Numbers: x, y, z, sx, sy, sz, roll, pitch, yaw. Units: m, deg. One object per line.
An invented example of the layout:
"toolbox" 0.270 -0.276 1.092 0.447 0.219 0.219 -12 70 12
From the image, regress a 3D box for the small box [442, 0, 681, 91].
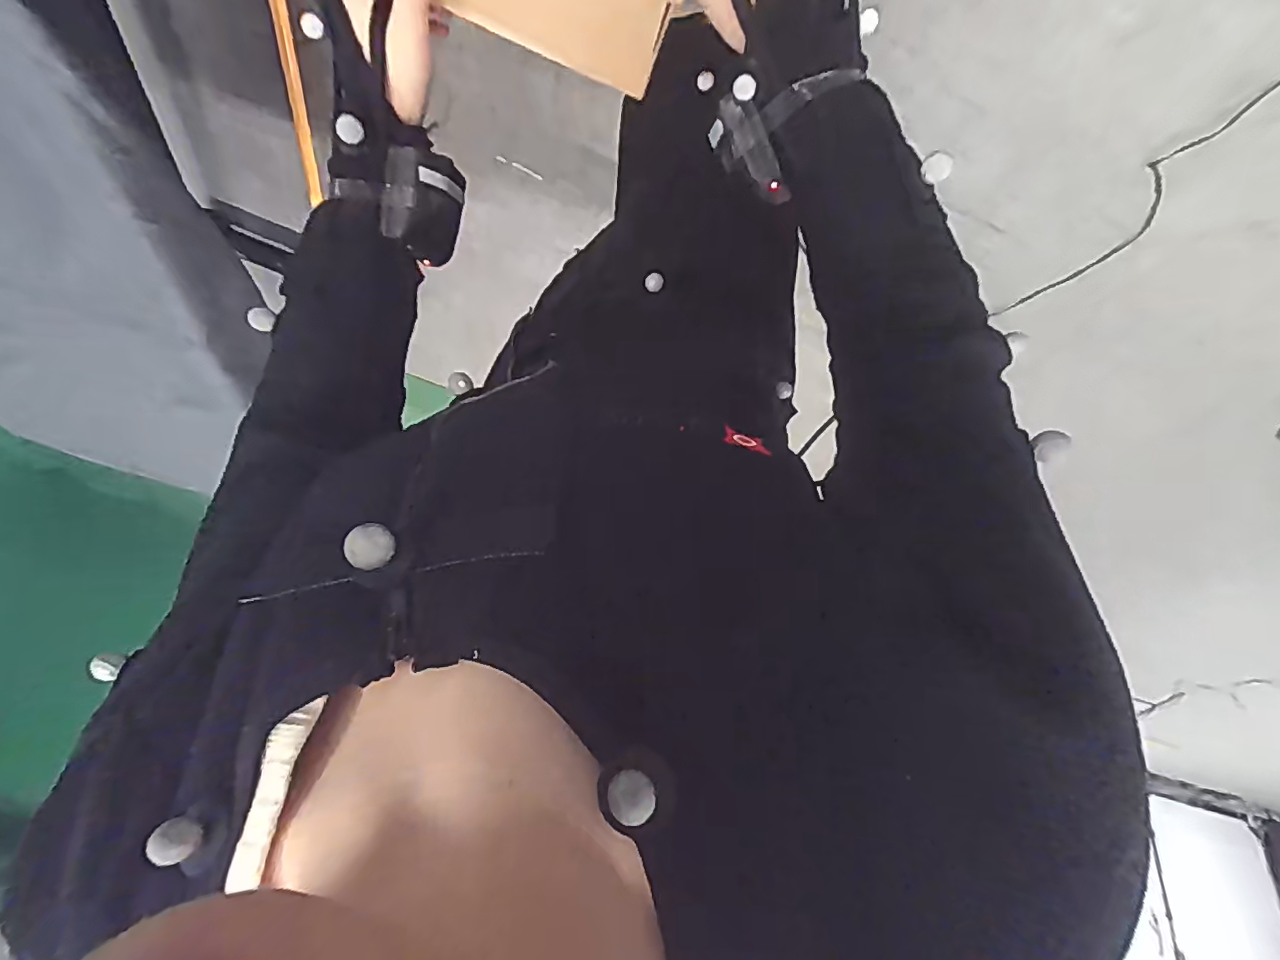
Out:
"small box" -0.035 -0.389 0.318 0.179 0.176 0.168 19 151 -10
